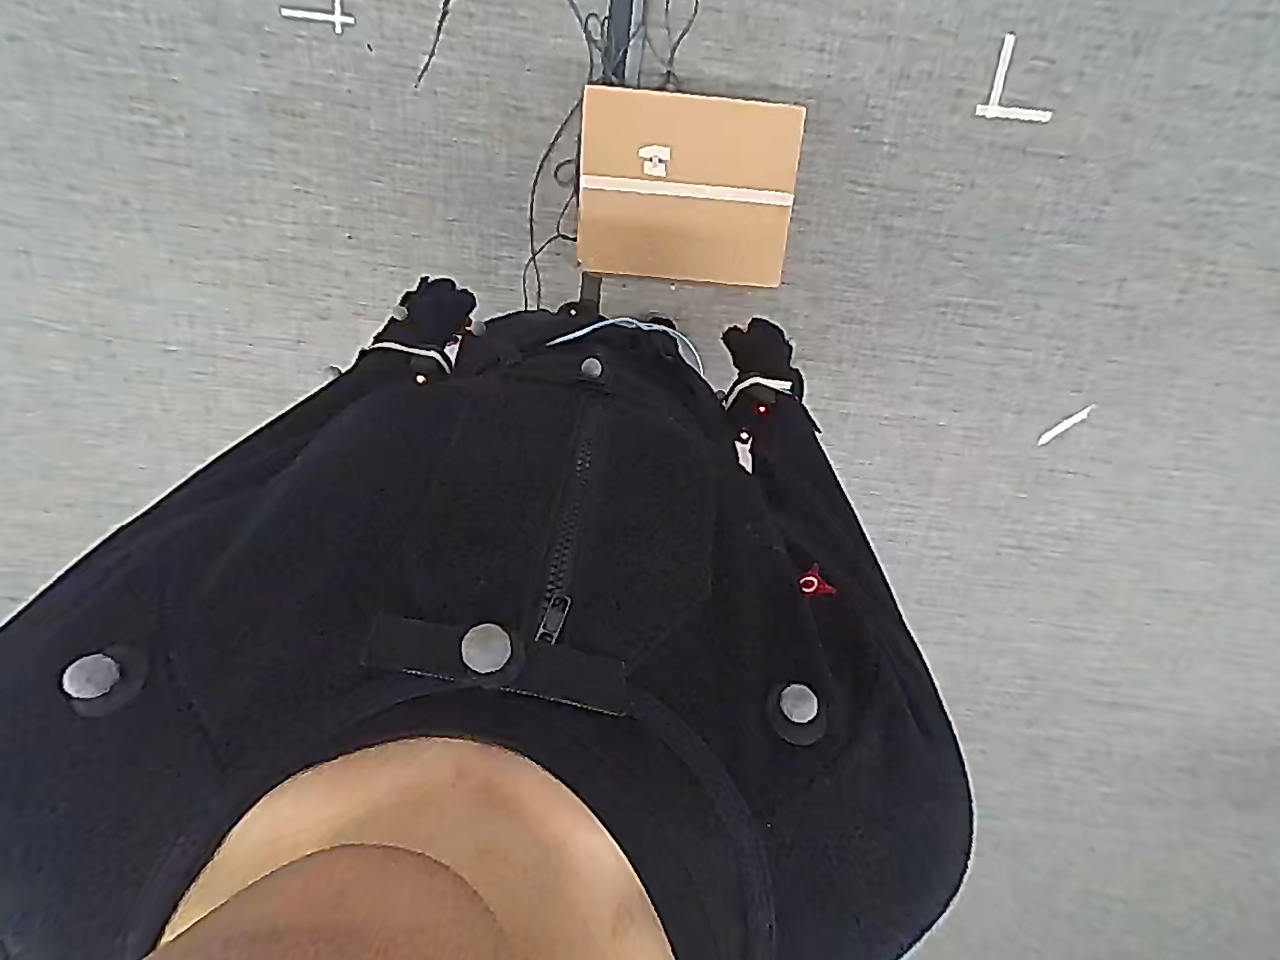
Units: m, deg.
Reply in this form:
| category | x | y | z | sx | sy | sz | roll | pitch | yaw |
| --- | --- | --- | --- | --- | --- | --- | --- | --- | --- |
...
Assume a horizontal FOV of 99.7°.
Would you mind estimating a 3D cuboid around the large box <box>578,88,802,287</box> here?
| category | x | y | z | sx | sy | sz | roll | pitch | yaw |
| --- | --- | --- | --- | --- | --- | --- | --- | --- | --- |
| large box | 0.089 | -0.592 | 1.163 | 0.408 | 0.320 | 0.320 | 5 | 107 | -1 |
